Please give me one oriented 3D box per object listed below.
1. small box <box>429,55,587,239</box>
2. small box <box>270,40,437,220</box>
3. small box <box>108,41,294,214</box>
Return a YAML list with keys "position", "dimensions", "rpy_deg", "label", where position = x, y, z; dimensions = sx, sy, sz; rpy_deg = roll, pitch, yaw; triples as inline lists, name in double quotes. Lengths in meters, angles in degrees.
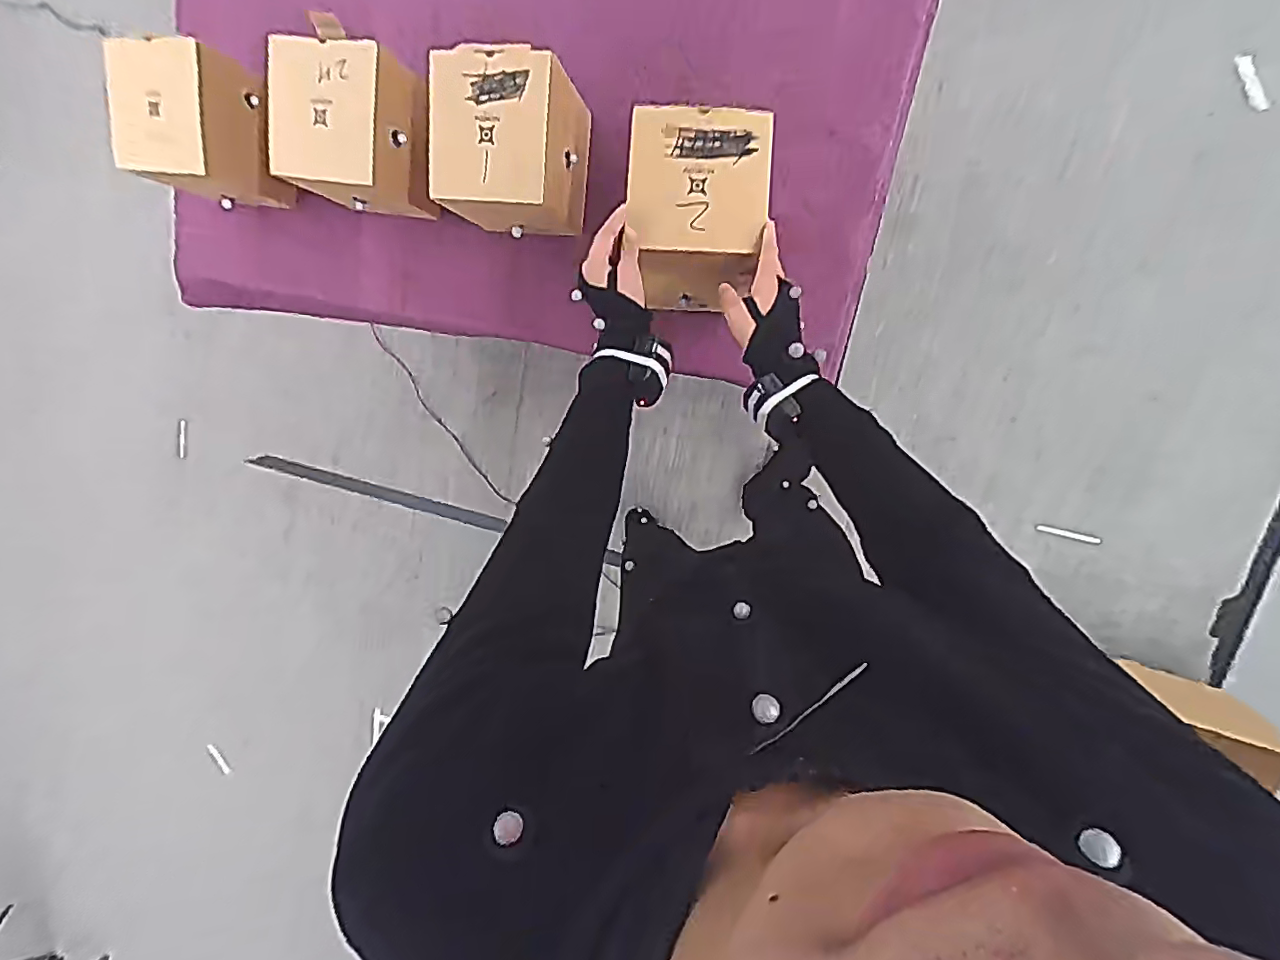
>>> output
- position: [-0.179, -0.463, 0.773]
  dimensions: [0.168, 0.176, 0.179]
  rpy_deg: [8, 102, 10]
  label: "small box"
- position: [-0.414, -0.509, 0.811]
  dimensions: [0.168, 0.176, 0.179]
  rpy_deg: [11, 102, 9]
  label: "small box"
- position: [-0.682, -0.547, 0.858]
  dimensions: [0.168, 0.176, 0.179]
  rpy_deg: [9, 101, 10]
  label: "small box"
